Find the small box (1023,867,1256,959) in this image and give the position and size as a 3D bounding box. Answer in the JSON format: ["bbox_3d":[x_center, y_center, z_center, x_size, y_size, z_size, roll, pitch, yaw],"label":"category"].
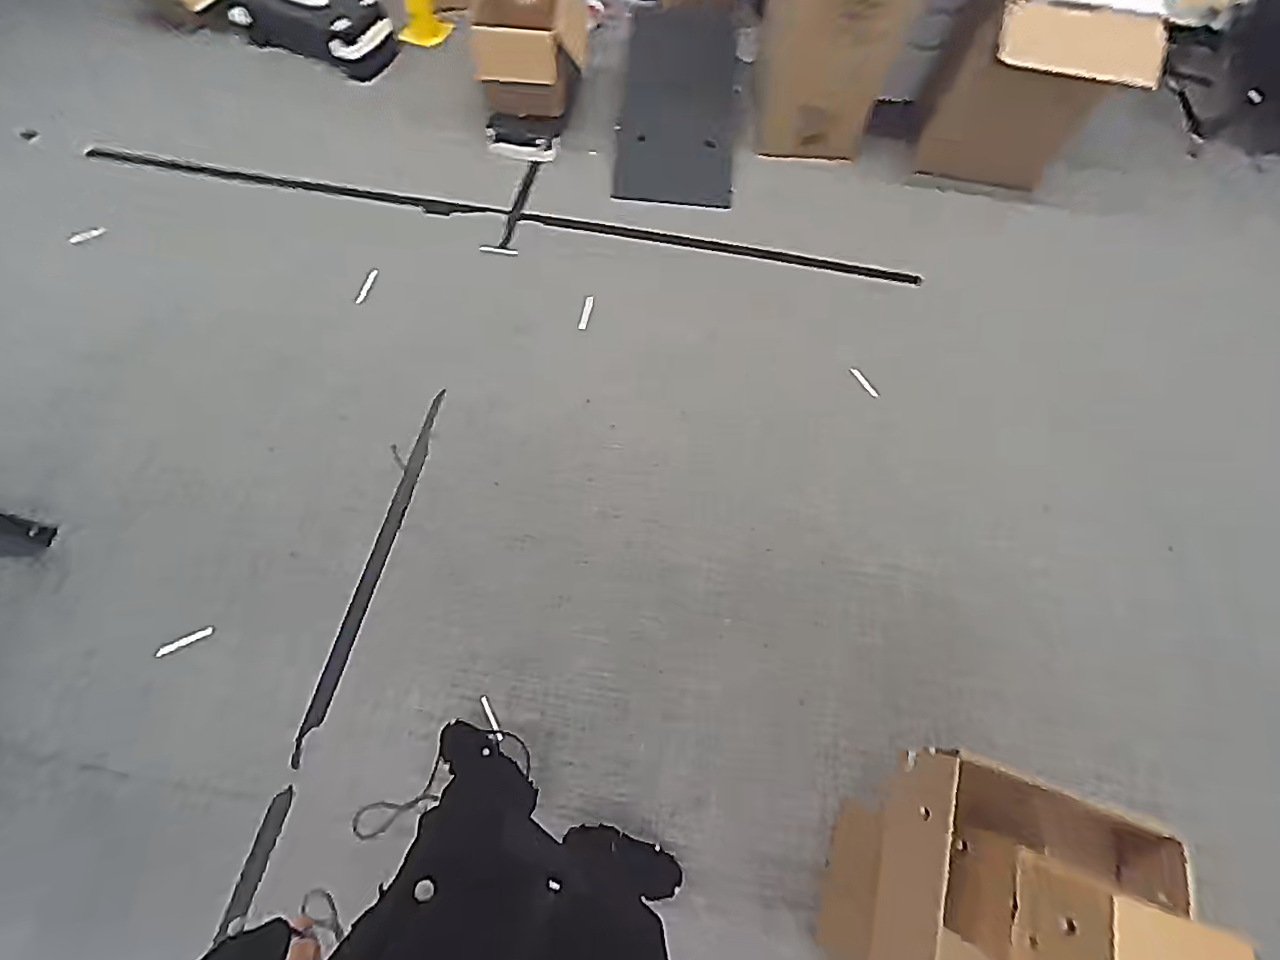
[{"bbox_3d":[0.651,0.652,0.721,0.179,0.176,0.168,19,68,4],"label":"small box"}]

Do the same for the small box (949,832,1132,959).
[{"bbox_3d":[0.637,0.702,0.876,0.179,0.176,0.168,22,68,6],"label":"small box"}]
